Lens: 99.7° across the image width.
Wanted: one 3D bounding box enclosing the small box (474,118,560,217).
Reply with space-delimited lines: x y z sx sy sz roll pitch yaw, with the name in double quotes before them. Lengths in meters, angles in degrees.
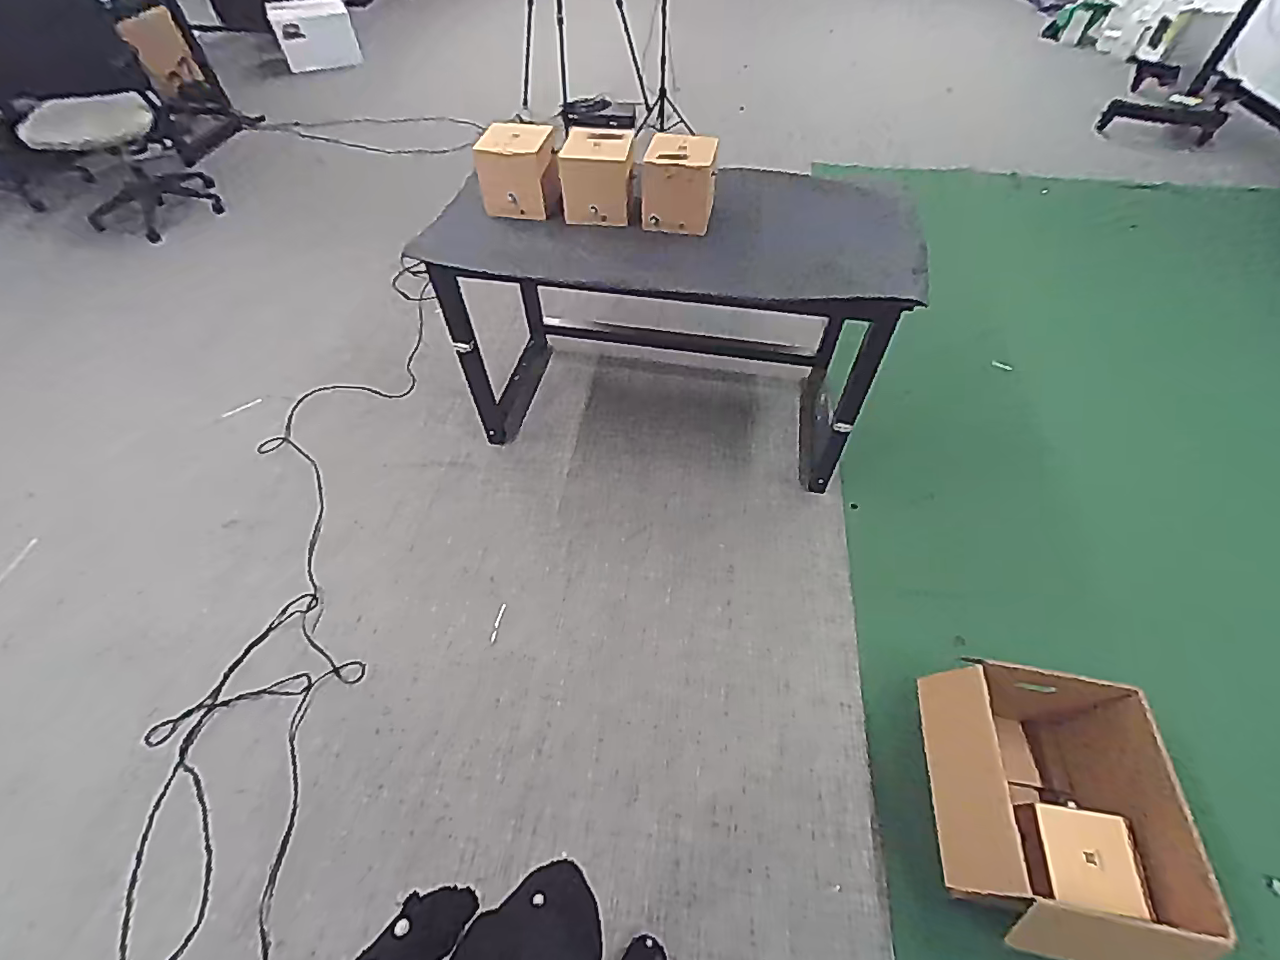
"small box" -0.312 -0.823 1.423 0.168 0.176 0.179 7 53 6
